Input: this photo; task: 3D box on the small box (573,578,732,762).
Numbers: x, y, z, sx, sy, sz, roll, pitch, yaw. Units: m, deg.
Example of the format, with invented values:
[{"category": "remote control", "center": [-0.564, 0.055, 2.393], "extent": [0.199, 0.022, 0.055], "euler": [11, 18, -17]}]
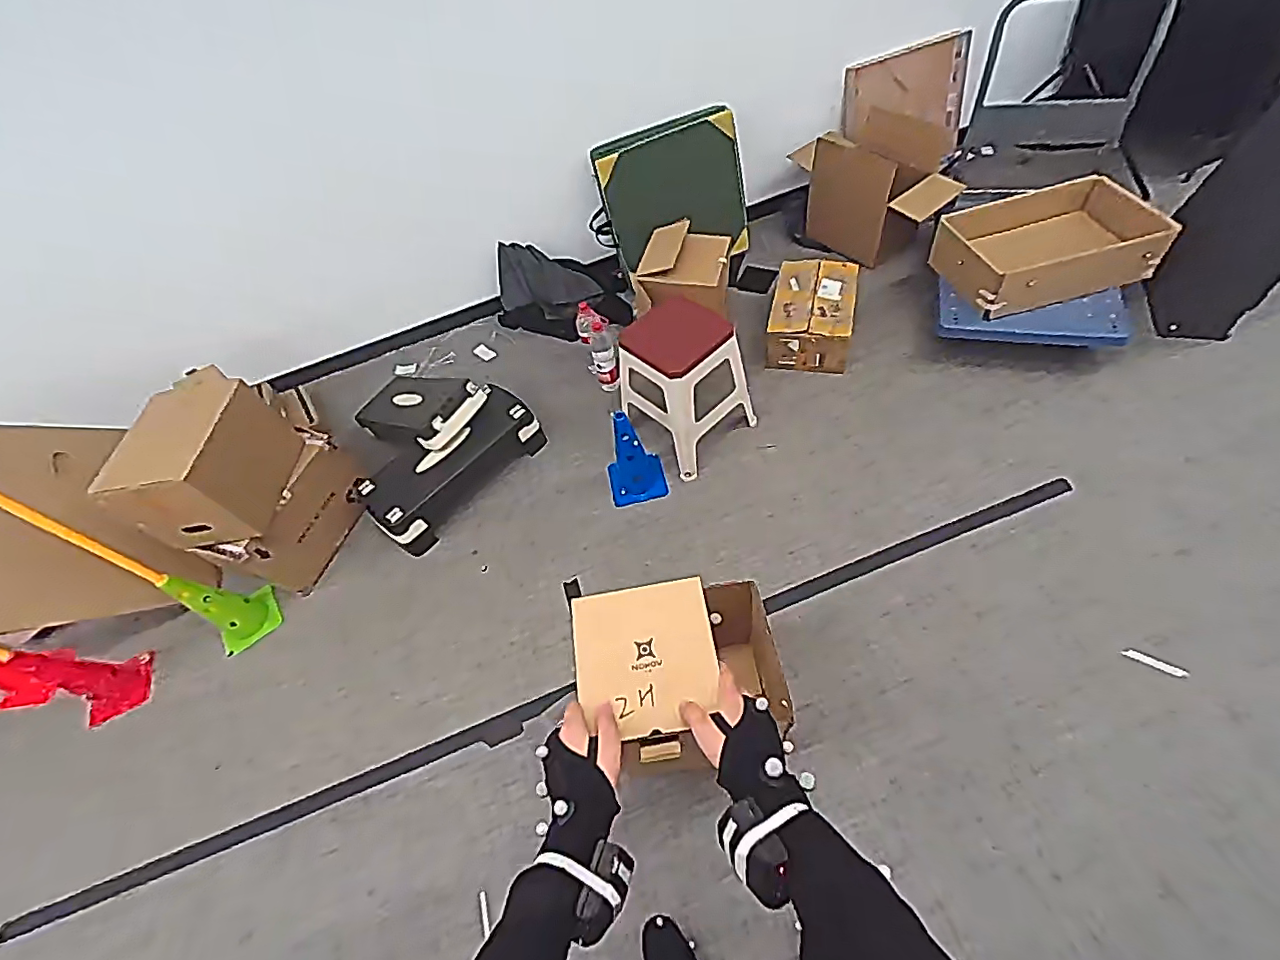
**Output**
[{"category": "small box", "center": [0.016, 0.247, 0.691], "extent": [0.168, 0.176, 0.179], "euler": [-11, 59, 2]}]
